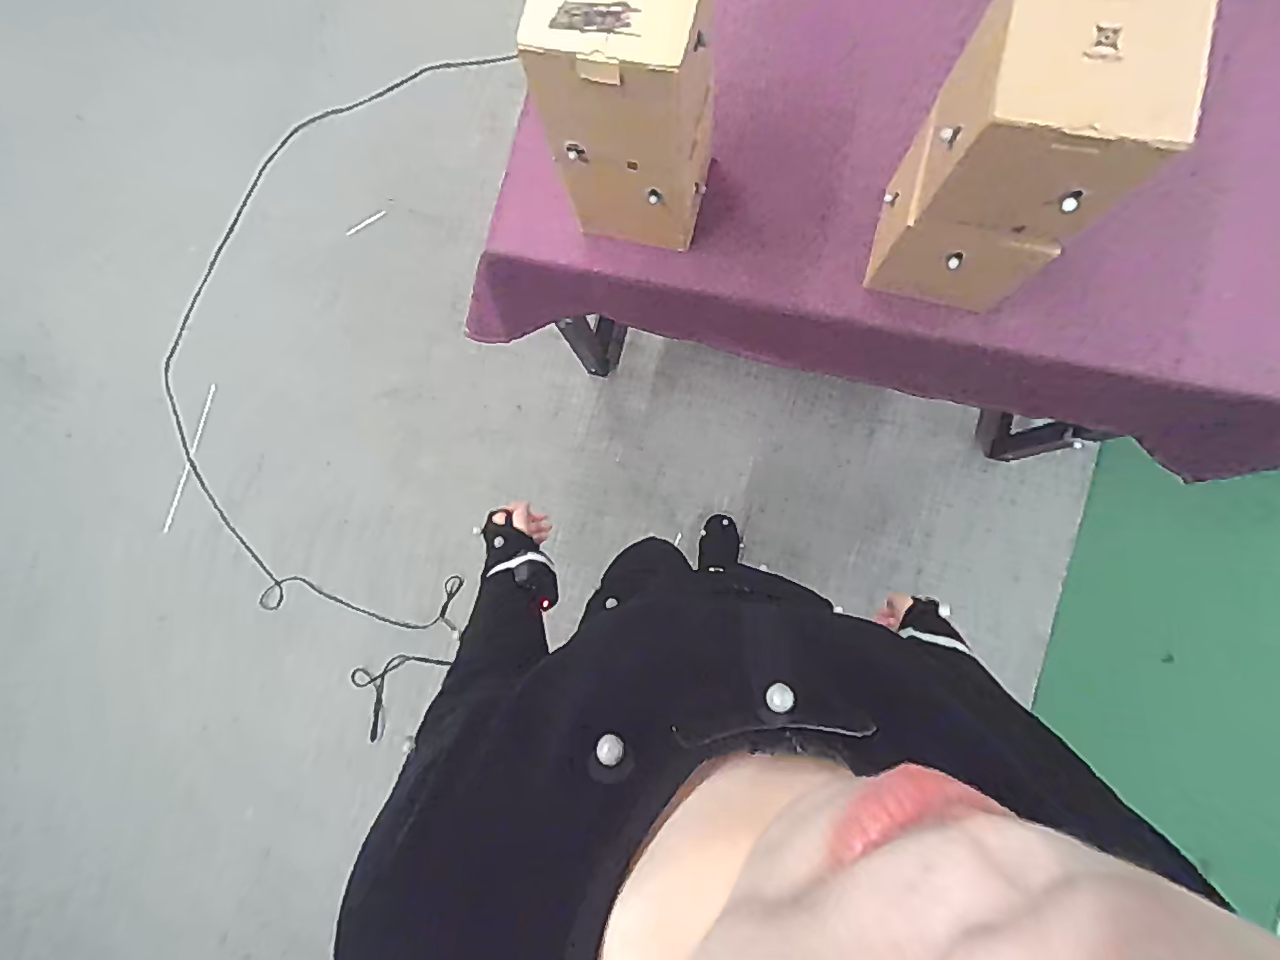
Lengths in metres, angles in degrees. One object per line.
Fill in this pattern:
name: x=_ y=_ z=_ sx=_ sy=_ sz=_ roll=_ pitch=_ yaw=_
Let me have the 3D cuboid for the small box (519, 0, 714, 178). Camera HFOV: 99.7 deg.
small box: x=-0.013 y=-0.475 z=0.601 sx=0.168 sy=0.176 sz=0.179 roll=13 pitch=85 yaw=5

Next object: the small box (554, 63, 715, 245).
small box: x=-0.001 y=-0.459 z=0.763 sx=0.179 sy=0.176 sz=0.168 roll=14 pitch=86 yaw=5

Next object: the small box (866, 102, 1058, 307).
small box: x=0.423 y=-0.349 z=0.714 sx=0.179 sy=0.176 sz=0.168 roll=15 pitch=87 yaw=7

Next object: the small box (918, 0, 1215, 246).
small box: x=0.410 y=-0.369 z=0.552 sx=0.168 sy=0.176 sz=0.179 roll=13 pitch=85 yaw=6
